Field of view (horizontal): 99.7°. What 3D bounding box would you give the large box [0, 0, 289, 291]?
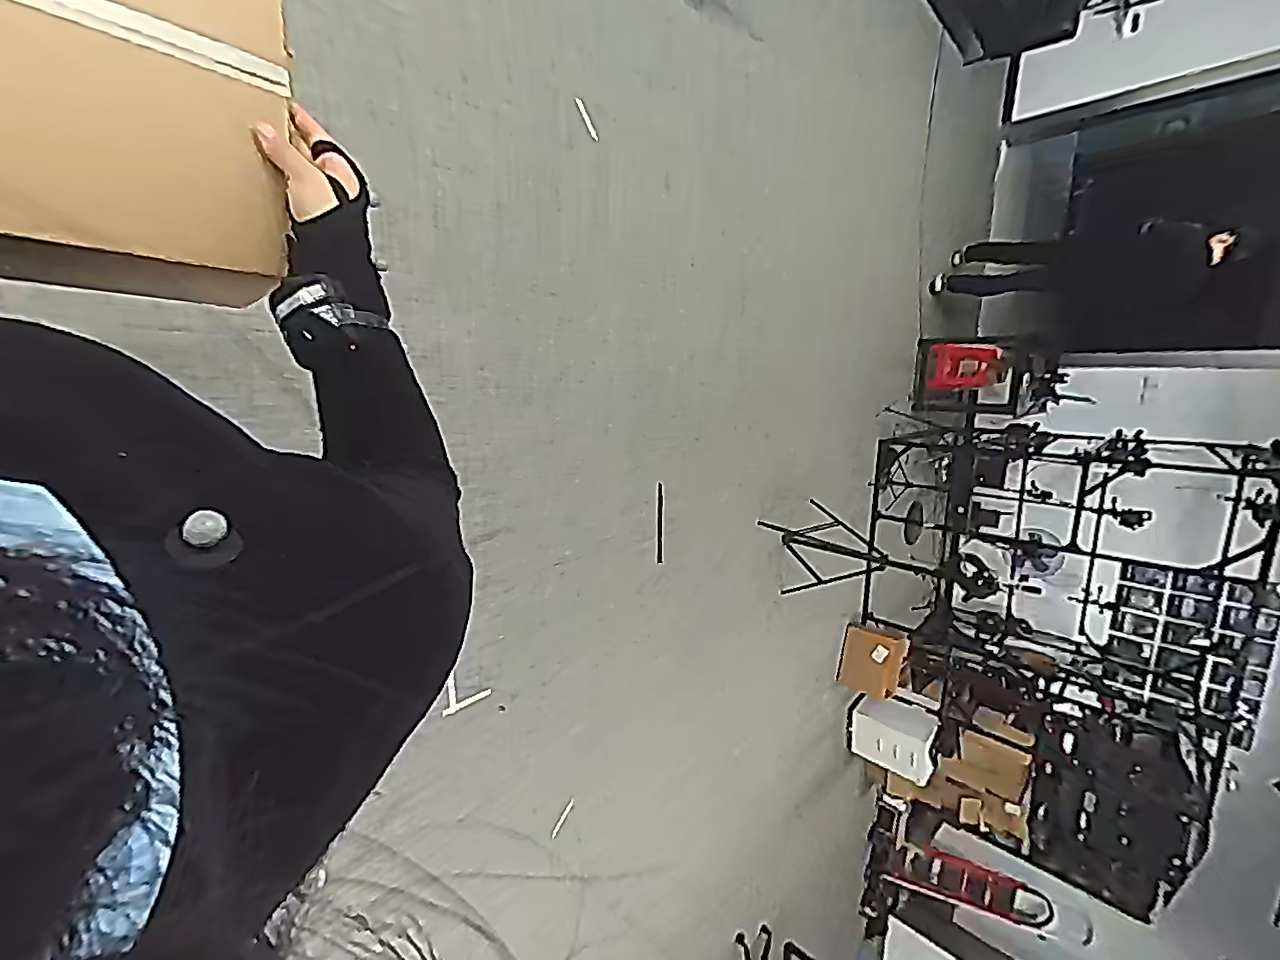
[{"bbox_3d":[-0.556,-0.348,0.437,0.408,0.320,0.320,-6,102,-42],"label":"large box"}]
